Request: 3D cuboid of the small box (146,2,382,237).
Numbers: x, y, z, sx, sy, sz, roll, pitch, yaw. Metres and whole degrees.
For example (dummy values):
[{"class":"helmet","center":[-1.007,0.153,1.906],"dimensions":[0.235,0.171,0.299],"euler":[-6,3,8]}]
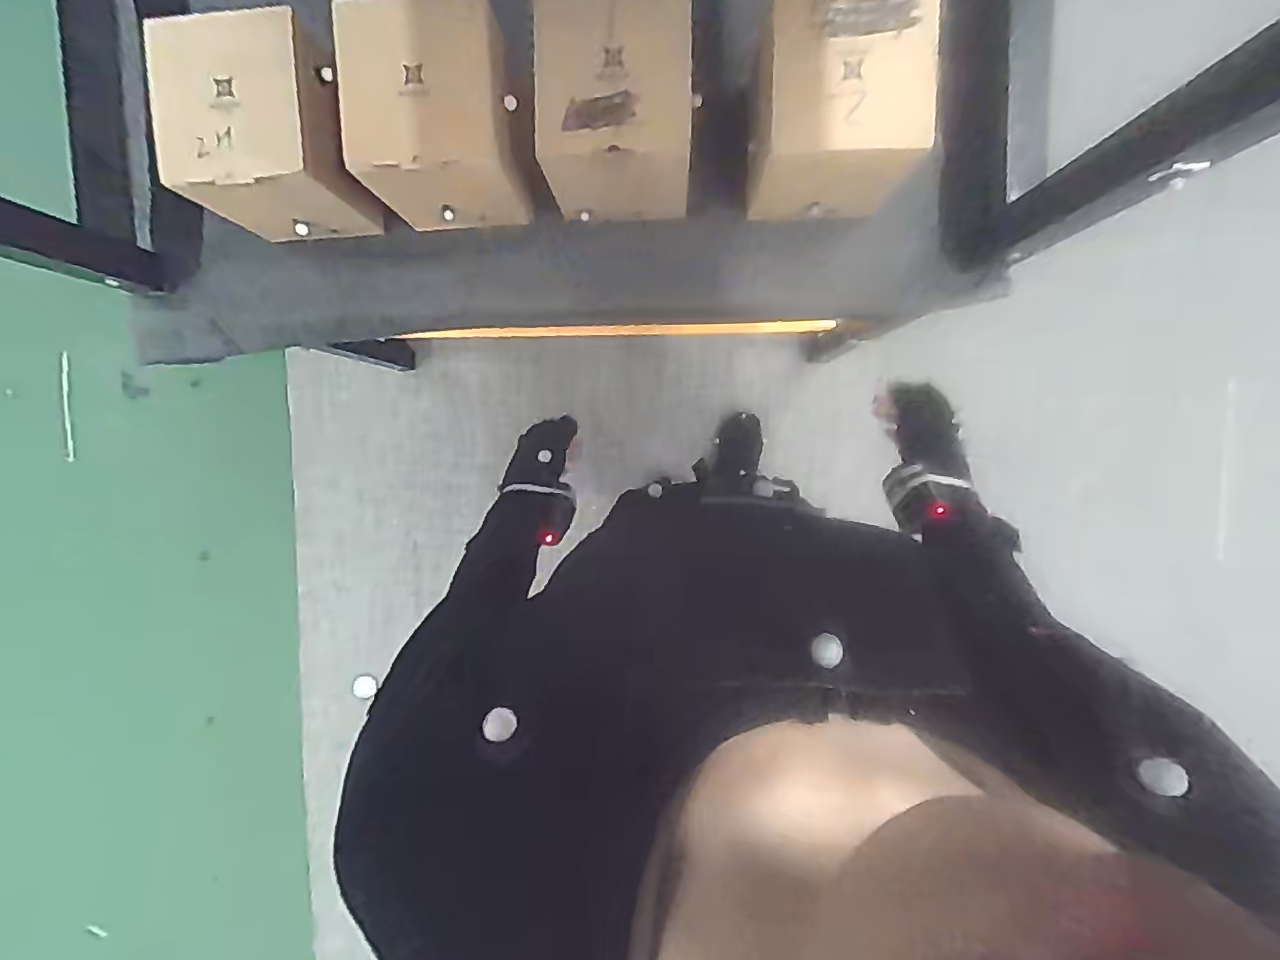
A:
[{"class":"small box","center":[-0.438,-0.420,0.658],"dimensions":[0.168,0.176,0.179],"euler":[-3,94,3]}]
